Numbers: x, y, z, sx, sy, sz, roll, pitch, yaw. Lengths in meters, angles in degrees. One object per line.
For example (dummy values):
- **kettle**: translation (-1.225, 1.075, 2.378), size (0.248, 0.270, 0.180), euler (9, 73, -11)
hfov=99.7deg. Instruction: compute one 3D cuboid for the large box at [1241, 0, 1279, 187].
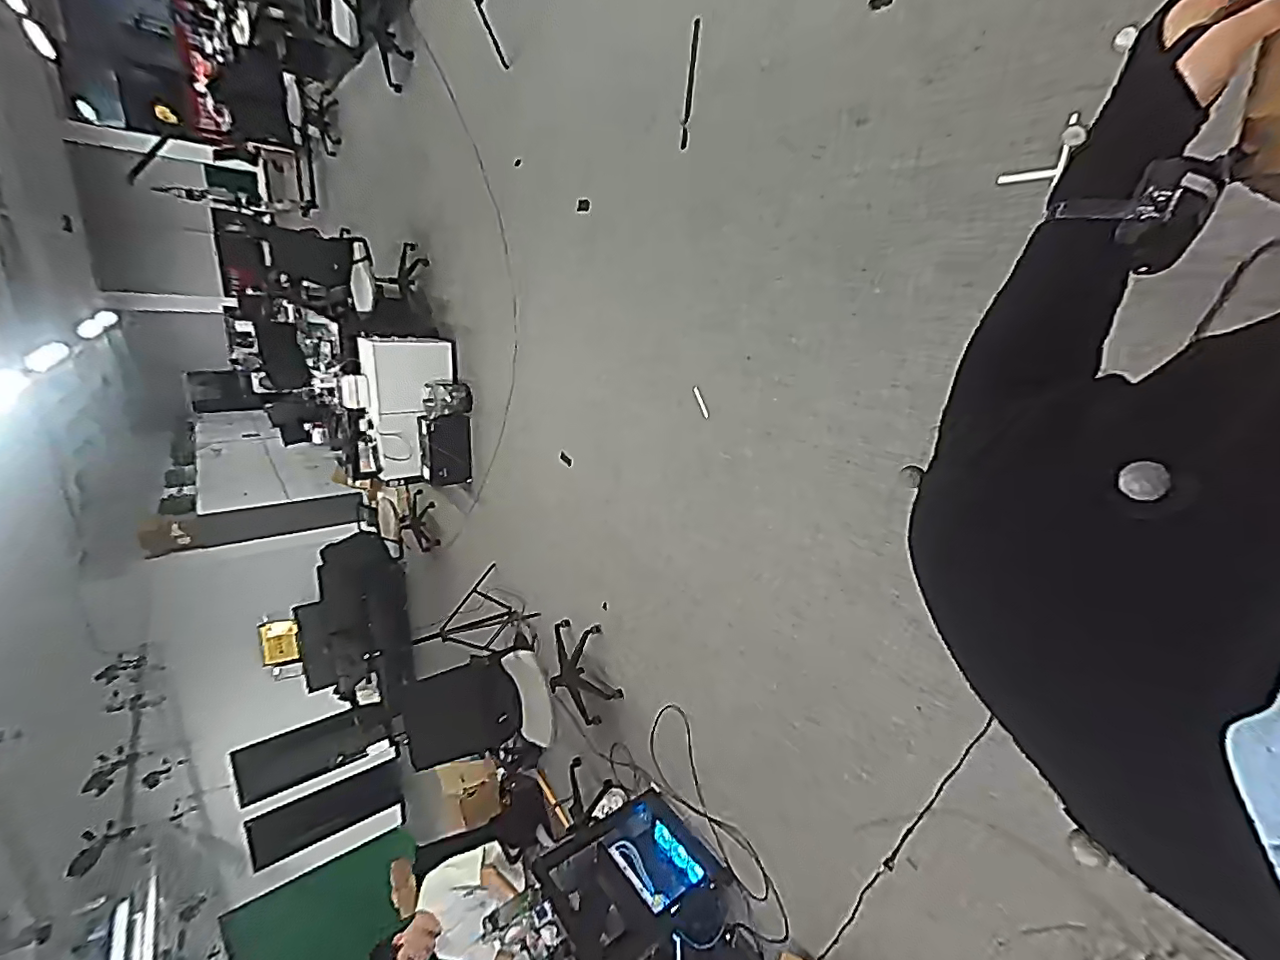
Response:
- **large box**: translation (0.662, -0.362, 0.272), size (0.408, 0.320, 0.320), euler (19, 115, 54)
